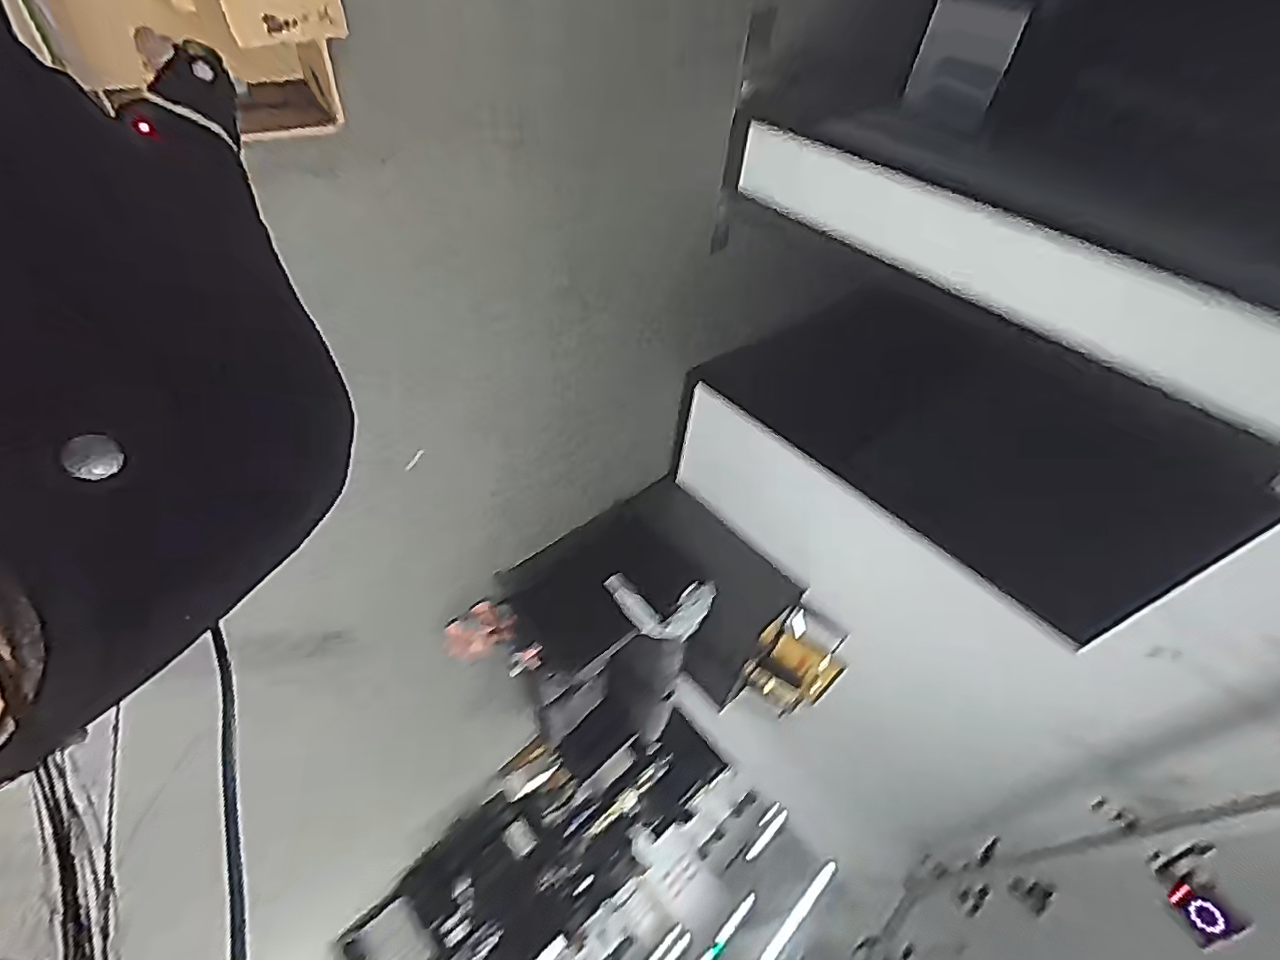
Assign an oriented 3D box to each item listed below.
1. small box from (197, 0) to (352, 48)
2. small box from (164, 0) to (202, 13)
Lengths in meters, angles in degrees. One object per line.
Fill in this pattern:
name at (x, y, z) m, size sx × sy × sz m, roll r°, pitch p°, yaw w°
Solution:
small box at (-0.561, -0.757, 0.785) m, size 0.168 × 0.176 × 0.179 m, roll -32°, pitch 146°, yaw -27°
small box at (-0.681, -0.850, 0.848) m, size 0.179 × 0.176 × 0.168 m, roll -29°, pitch 145°, yaw -31°
